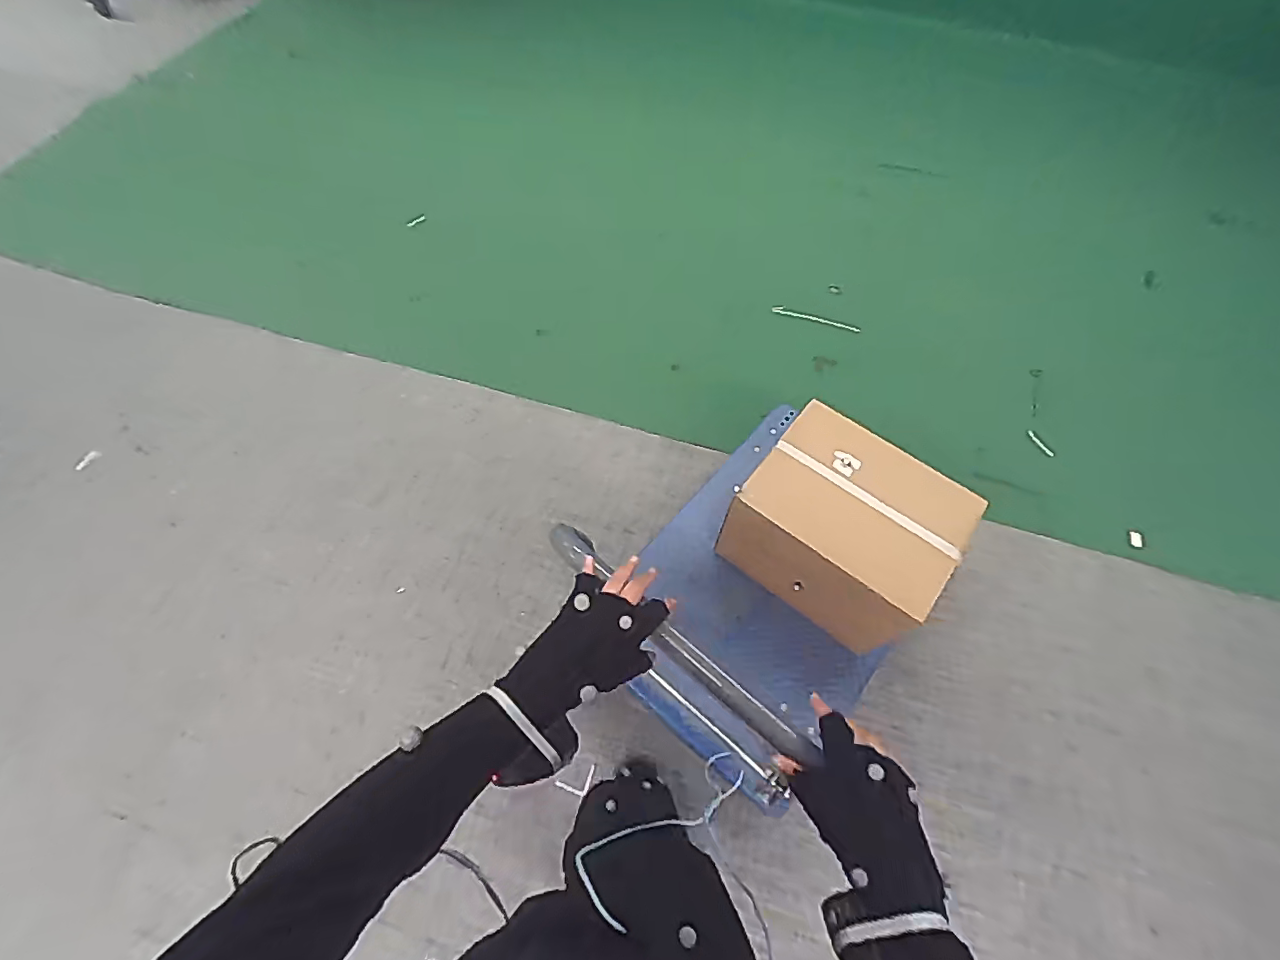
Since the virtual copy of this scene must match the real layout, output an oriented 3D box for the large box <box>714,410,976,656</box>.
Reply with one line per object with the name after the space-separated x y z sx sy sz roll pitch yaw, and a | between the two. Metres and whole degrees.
0.429 0.125 1.213 0.408 0.320 0.320 36 65 17 | large box
